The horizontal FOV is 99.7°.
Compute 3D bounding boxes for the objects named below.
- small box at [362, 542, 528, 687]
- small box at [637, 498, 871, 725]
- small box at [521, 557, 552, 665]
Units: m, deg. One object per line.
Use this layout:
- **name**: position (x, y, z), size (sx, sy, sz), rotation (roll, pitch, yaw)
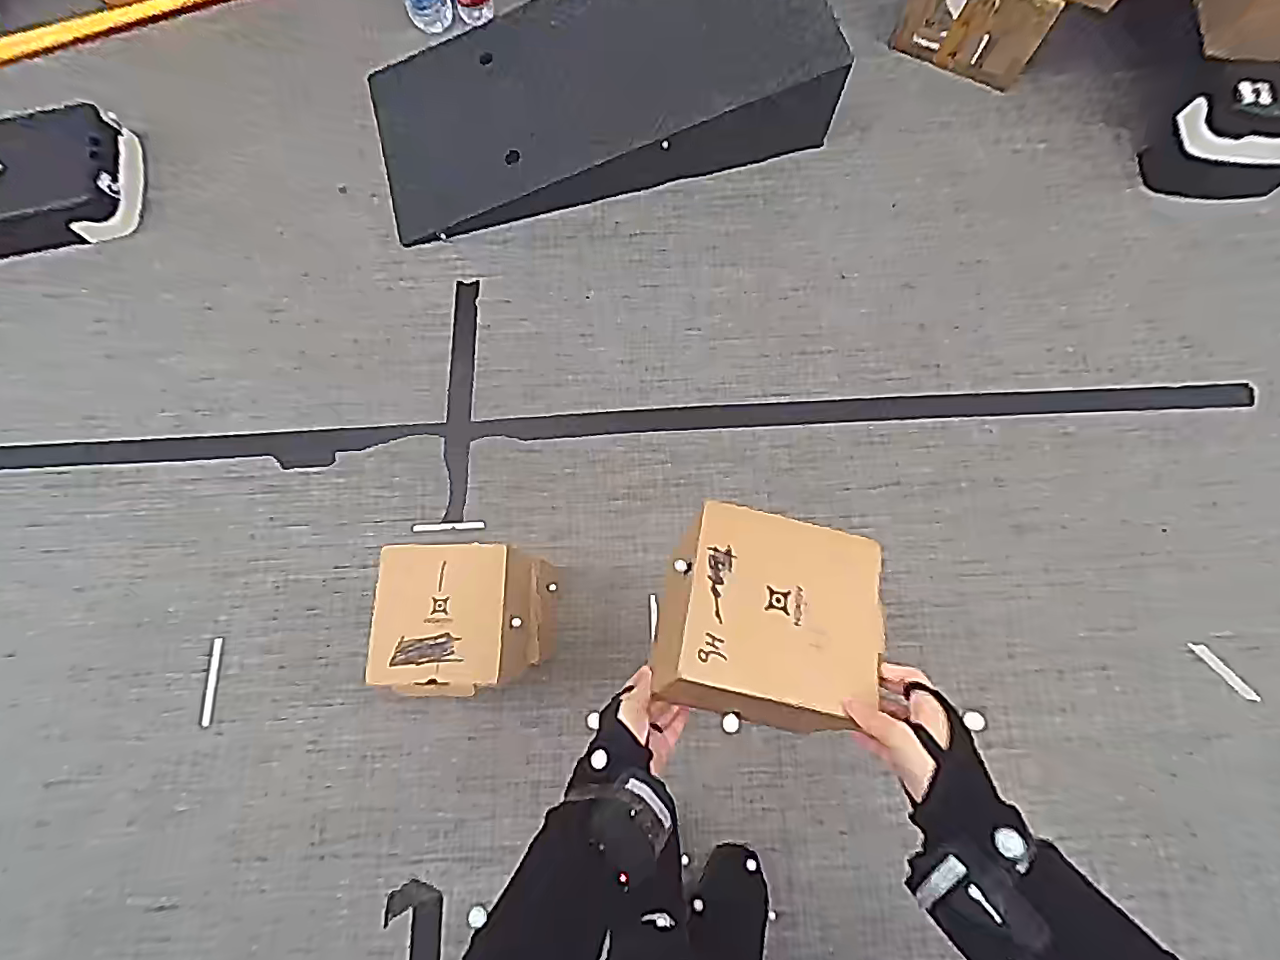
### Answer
- **small box**: position (-0.255, 0.184, 0.750), size (0.168, 0.176, 0.179), rotation (0, 75, 0)
- **small box**: position (0.108, 0.143, 0.549), size (0.179, 0.176, 0.168), rotation (15, 61, -3)
- **small box**: position (-0.245, 0.221, 0.910), size (0.179, 0.176, 0.168), rotation (-3, 76, 0)
